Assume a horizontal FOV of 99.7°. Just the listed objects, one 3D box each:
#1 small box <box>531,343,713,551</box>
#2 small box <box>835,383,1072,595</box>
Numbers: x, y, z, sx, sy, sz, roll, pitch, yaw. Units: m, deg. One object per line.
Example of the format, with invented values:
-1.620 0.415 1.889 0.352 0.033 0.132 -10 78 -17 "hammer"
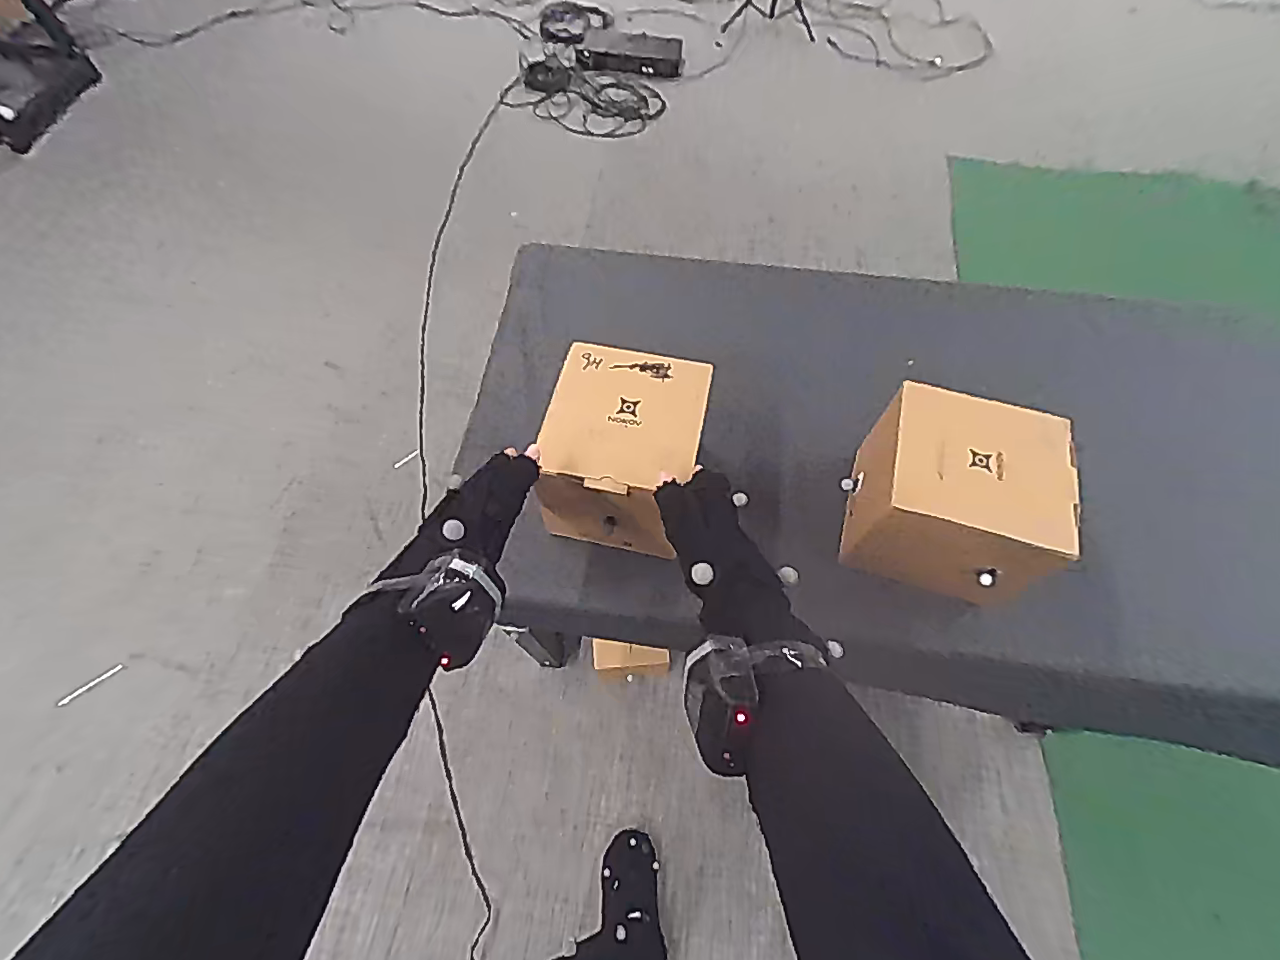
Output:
-0.015 -0.031 0.648 0.168 0.176 0.179 11 62 5 "small box"
0.349 0.019 0.628 0.179 0.176 0.168 15 62 8 "small box"
